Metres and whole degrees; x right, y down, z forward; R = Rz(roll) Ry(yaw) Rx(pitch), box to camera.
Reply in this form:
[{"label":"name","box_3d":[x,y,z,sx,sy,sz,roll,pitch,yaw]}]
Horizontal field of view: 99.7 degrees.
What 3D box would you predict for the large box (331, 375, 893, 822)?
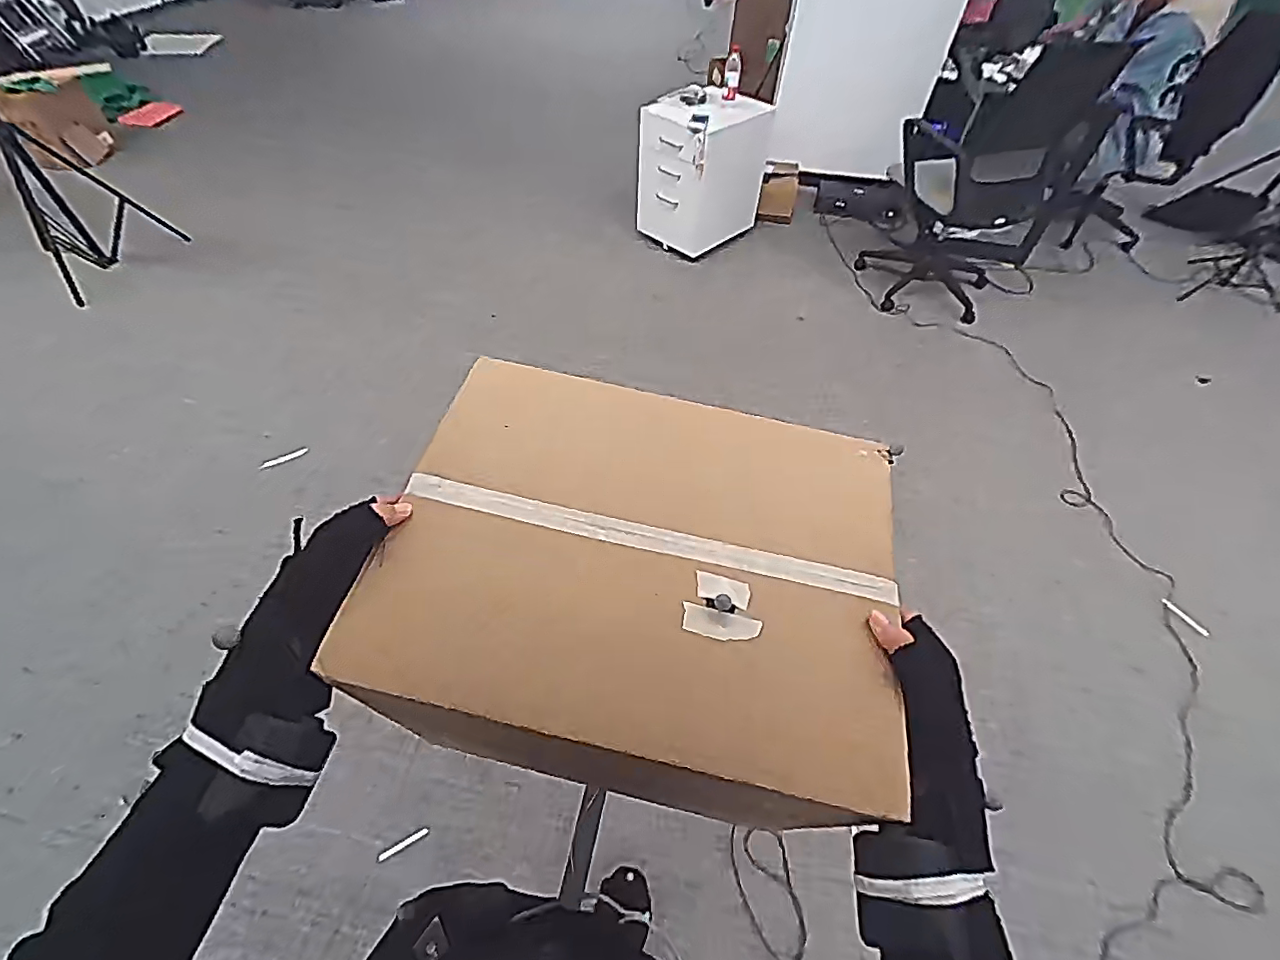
[{"label":"large box","box_3d":[-0.009,0.138,0.572,0.408,0.320,0.320,13,57,2]}]
